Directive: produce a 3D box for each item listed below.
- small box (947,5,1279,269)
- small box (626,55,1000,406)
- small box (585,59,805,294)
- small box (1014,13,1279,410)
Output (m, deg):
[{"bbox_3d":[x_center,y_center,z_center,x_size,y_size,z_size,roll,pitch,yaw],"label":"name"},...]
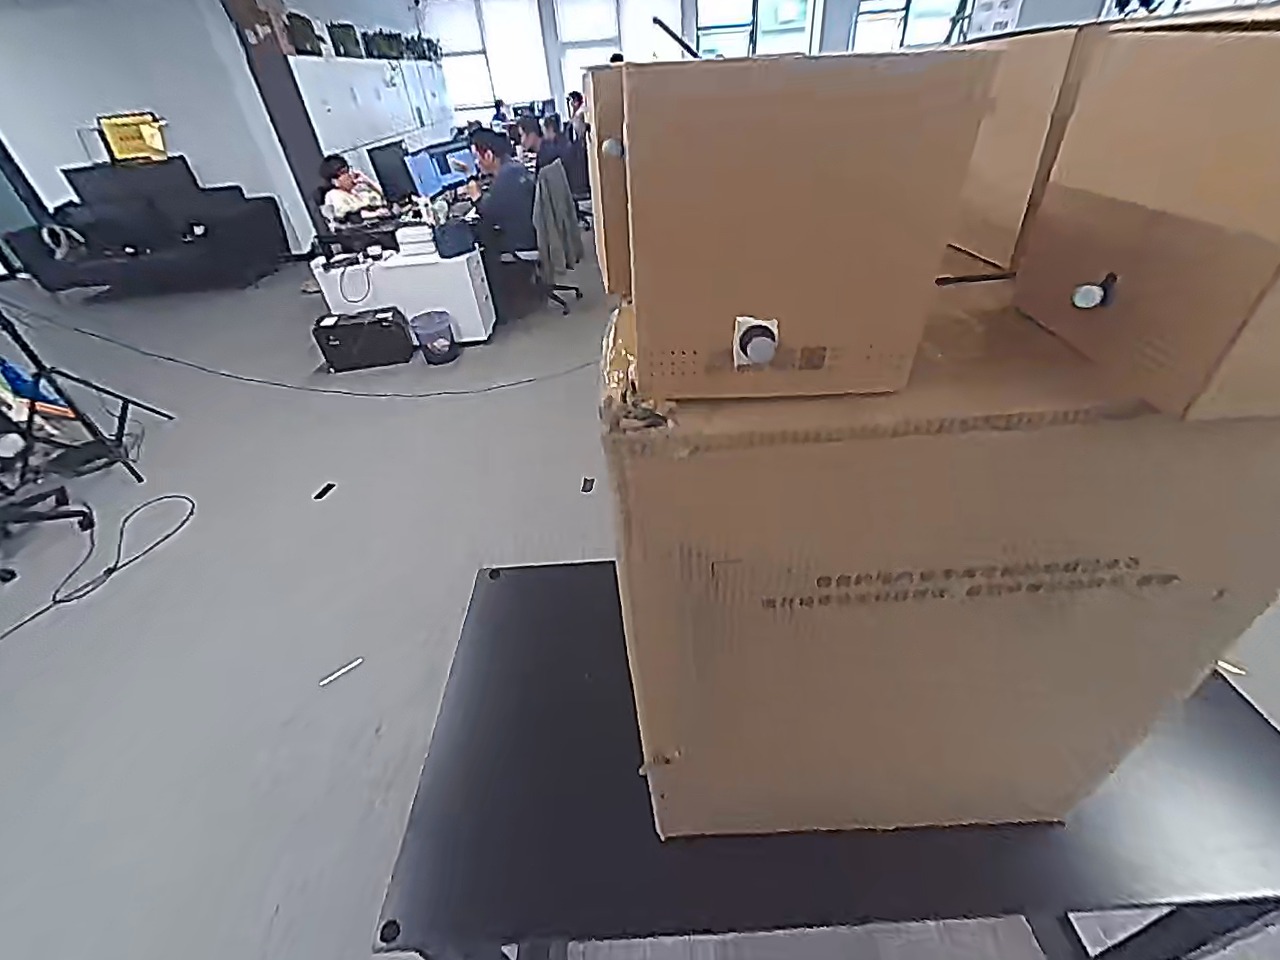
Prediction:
[{"bbox_3d":[0.387,-0.298,0.487,0.168,0.176,0.179,-6,35,2],"label":"small box"},{"bbox_3d":[0.076,-0.162,0.349,0.168,0.176,0.179,-3,38,1],"label":"small box"},{"bbox_3d":[0.038,-0.286,0.513,0.168,0.176,0.179,-7,36,-4],"label":"small box"},{"bbox_3d":[0.359,-0.150,0.303,0.168,0.176,0.179,-5,40,2],"label":"small box"}]
